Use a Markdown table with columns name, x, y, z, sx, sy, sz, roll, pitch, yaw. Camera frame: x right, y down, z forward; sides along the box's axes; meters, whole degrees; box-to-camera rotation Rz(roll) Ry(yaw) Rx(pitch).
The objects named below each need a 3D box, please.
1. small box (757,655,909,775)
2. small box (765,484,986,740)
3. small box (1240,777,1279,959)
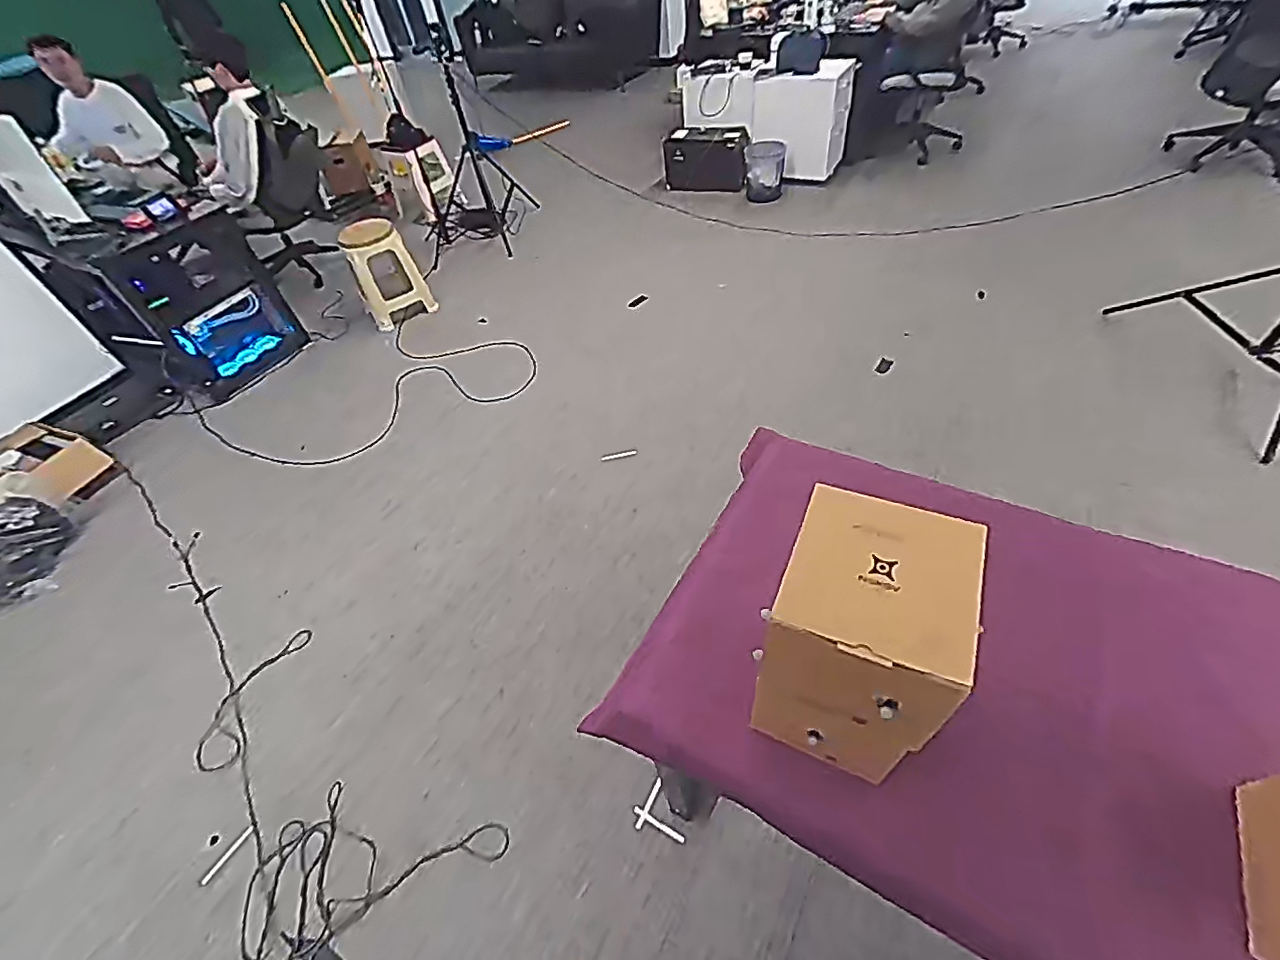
| name | x | y | z | sx | sy | sz | roll | pitch | yaw |
| --- | --- | --- | --- | --- | --- | --- | --- | --- | --- |
| small box | 0.253 | 0.240 | 0.687 | 0.168 | 0.176 | 0.179 | 17 | 53 | 22 |
| small box | 0.234 | 0.138 | 0.562 | 0.168 | 0.176 | 0.179 | 16 | 52 | 20 |
| small box | 0.709 | 0.389 | 0.489 | 0.168 | 0.176 | 0.179 | 20 | 54 | 25 |
